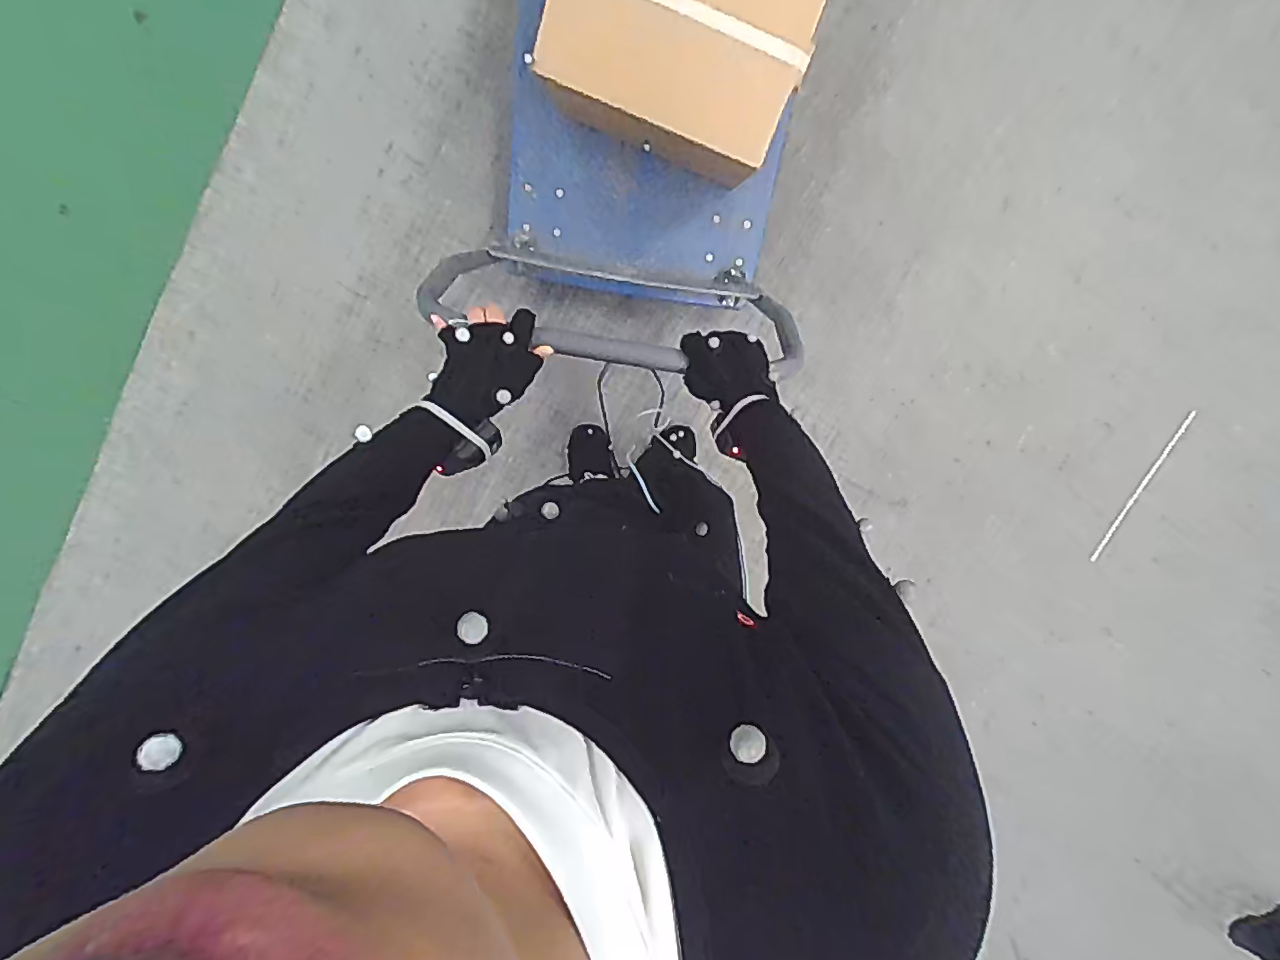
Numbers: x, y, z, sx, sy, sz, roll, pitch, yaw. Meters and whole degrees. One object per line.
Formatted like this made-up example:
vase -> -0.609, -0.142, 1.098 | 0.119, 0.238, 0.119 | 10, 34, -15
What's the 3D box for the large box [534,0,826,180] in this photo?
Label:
large box -> 0.074, -0.779, 0.962 | 0.408, 0.320, 0.320 | 20, 112, -6
